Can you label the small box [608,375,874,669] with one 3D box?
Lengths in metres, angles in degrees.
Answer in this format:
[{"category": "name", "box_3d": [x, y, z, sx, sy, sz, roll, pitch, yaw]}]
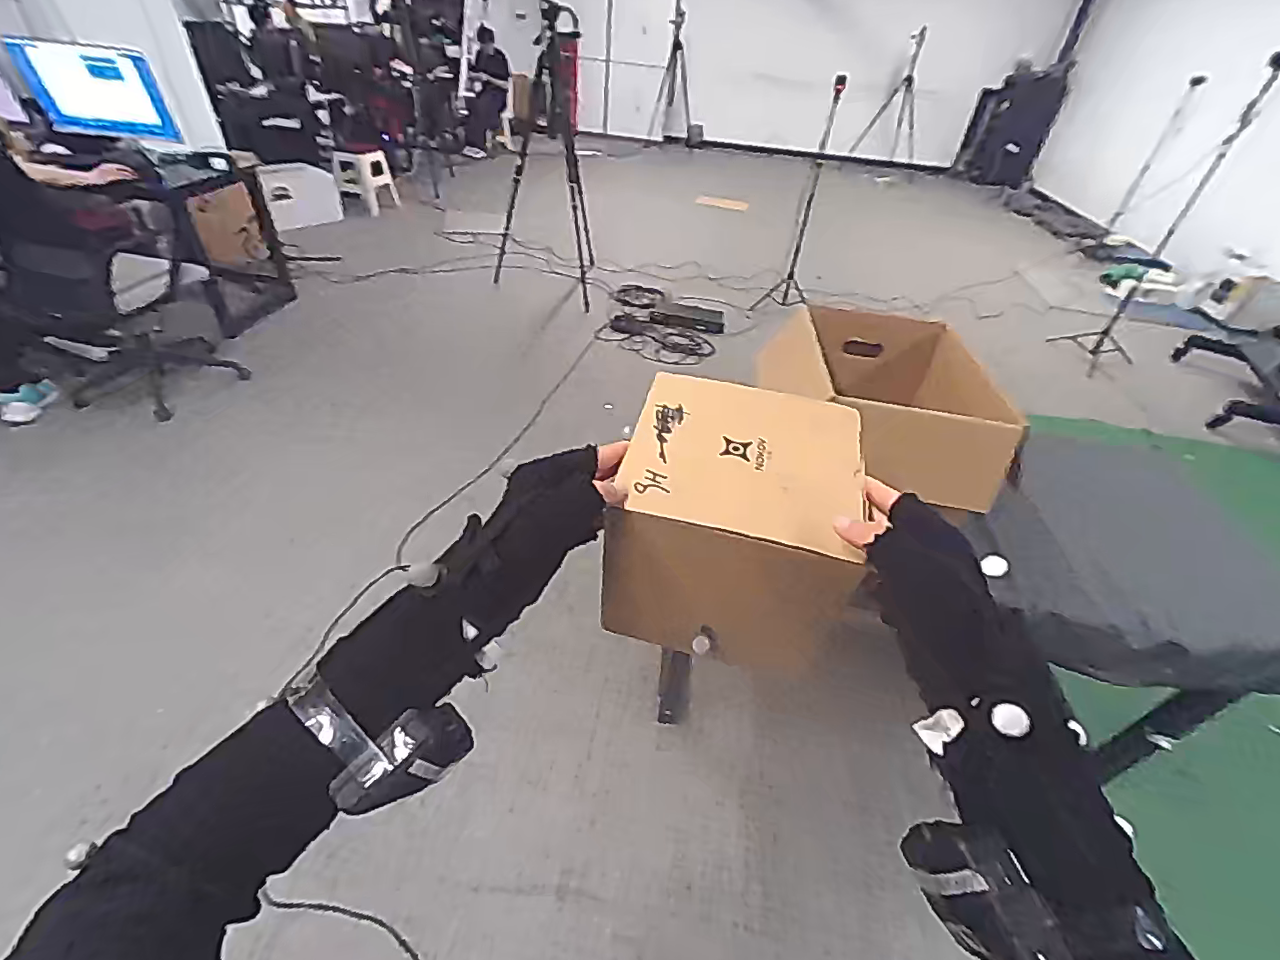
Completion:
[{"category": "small box", "box_3d": [0.079, 0.039, 0.467, 0.179, 0.176, 0.168, 14, 45, 7]}]
